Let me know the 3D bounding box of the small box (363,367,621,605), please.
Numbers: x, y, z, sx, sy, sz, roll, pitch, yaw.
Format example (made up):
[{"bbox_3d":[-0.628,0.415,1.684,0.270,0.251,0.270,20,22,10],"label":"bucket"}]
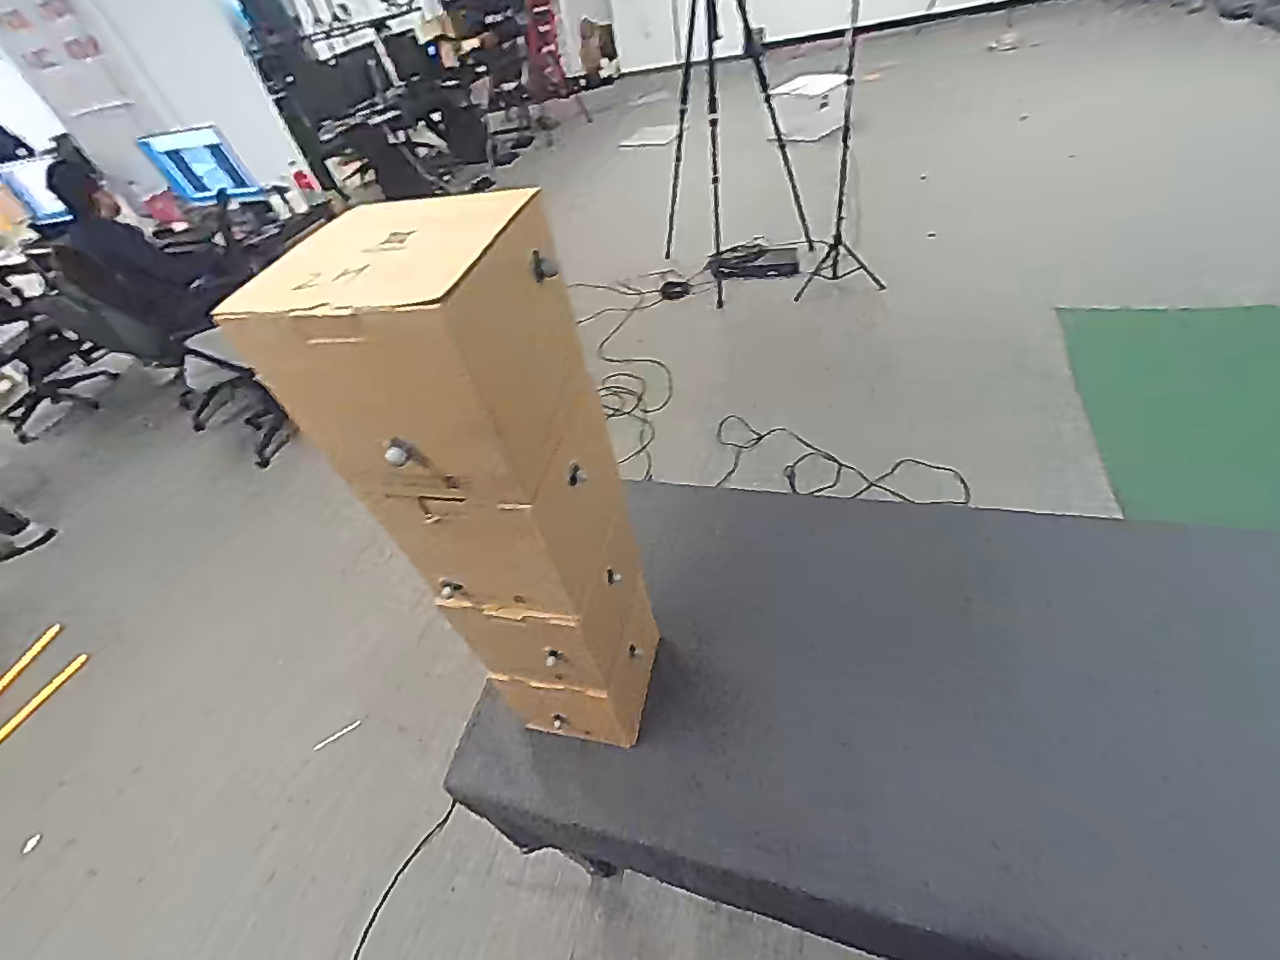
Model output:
[{"bbox_3d":[-0.126,0.005,0.545,0.168,0.176,0.179,4,47,15],"label":"small box"}]

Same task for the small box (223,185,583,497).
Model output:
[{"bbox_3d":[-0.155,-0.109,0.429,0.168,0.176,0.179,3,47,15],"label":"small box"}]

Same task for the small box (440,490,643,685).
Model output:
[{"bbox_3d":[-0.101,0.124,0.655,0.168,0.176,0.179,5,47,16],"label":"small box"}]

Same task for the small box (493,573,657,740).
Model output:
[{"bbox_3d":[-0.077,0.239,0.767,0.168,0.176,0.179,3,47,17],"label":"small box"}]
